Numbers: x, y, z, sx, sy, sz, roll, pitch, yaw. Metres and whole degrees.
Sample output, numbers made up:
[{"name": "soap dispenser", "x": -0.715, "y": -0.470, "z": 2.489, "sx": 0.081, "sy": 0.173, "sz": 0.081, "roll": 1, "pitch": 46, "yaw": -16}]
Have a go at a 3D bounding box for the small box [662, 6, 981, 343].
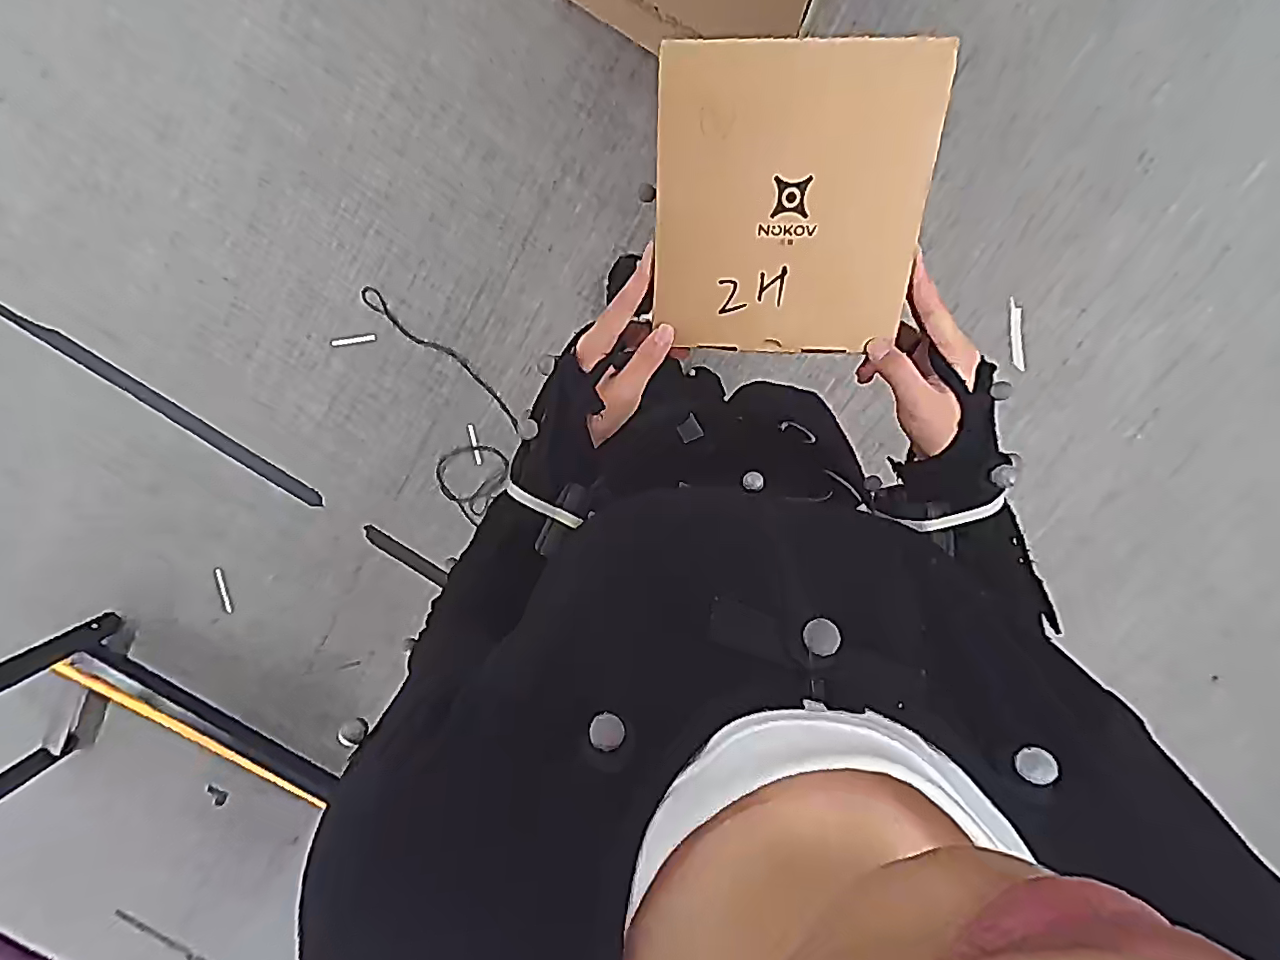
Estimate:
[{"name": "small box", "x": 0.105, "y": -0.208, "z": 0.398, "sx": 0.168, "sy": 0.176, "sz": 0.179, "roll": 4, "pitch": 116, "yaw": 4}]
